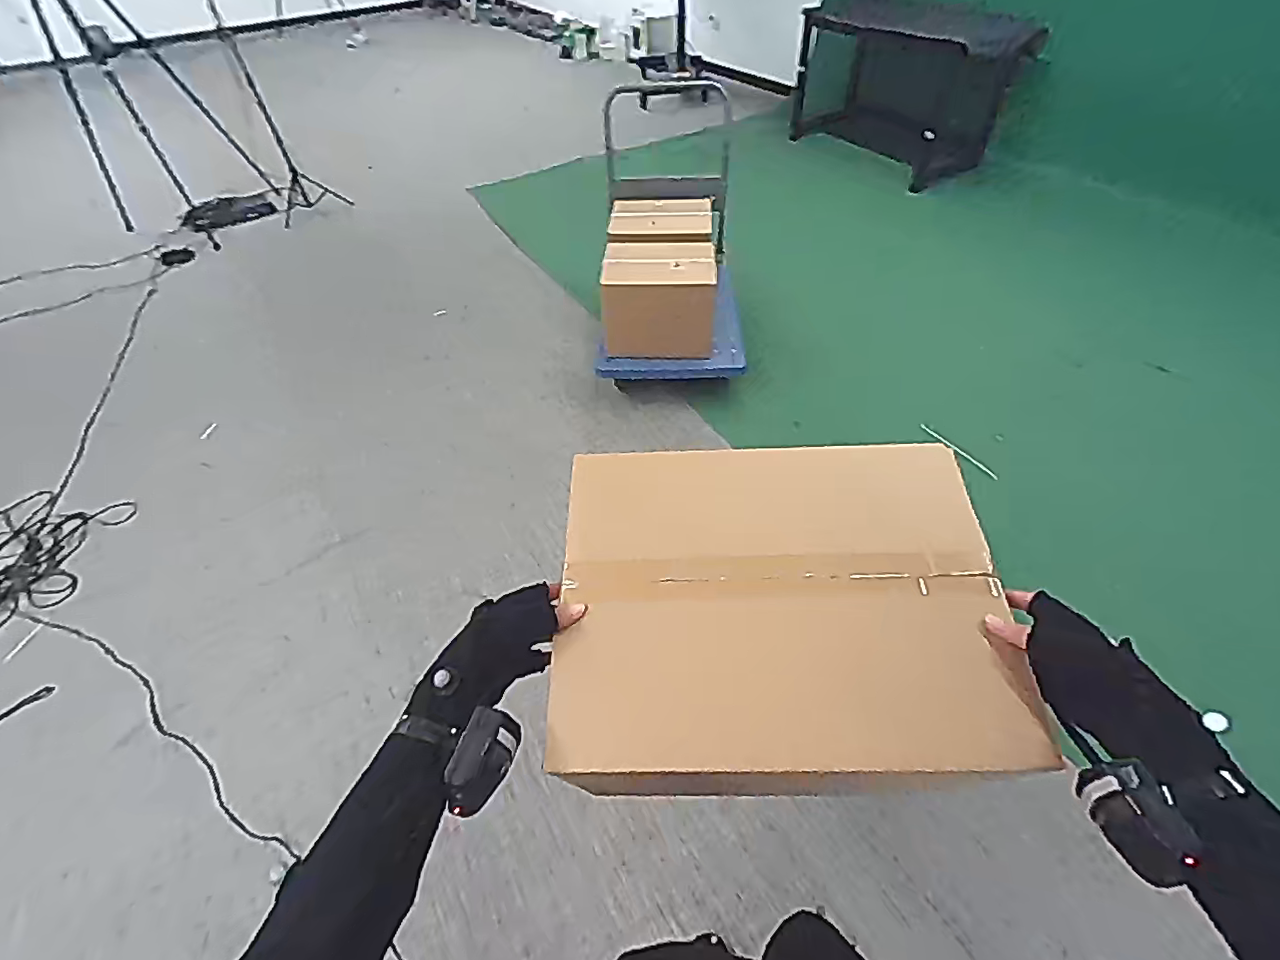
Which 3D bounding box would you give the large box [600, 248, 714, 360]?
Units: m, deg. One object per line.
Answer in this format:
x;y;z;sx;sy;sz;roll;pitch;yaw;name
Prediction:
0.066;-0.671;2.064;0.408;0.320;0.320;2;48;3;large box
